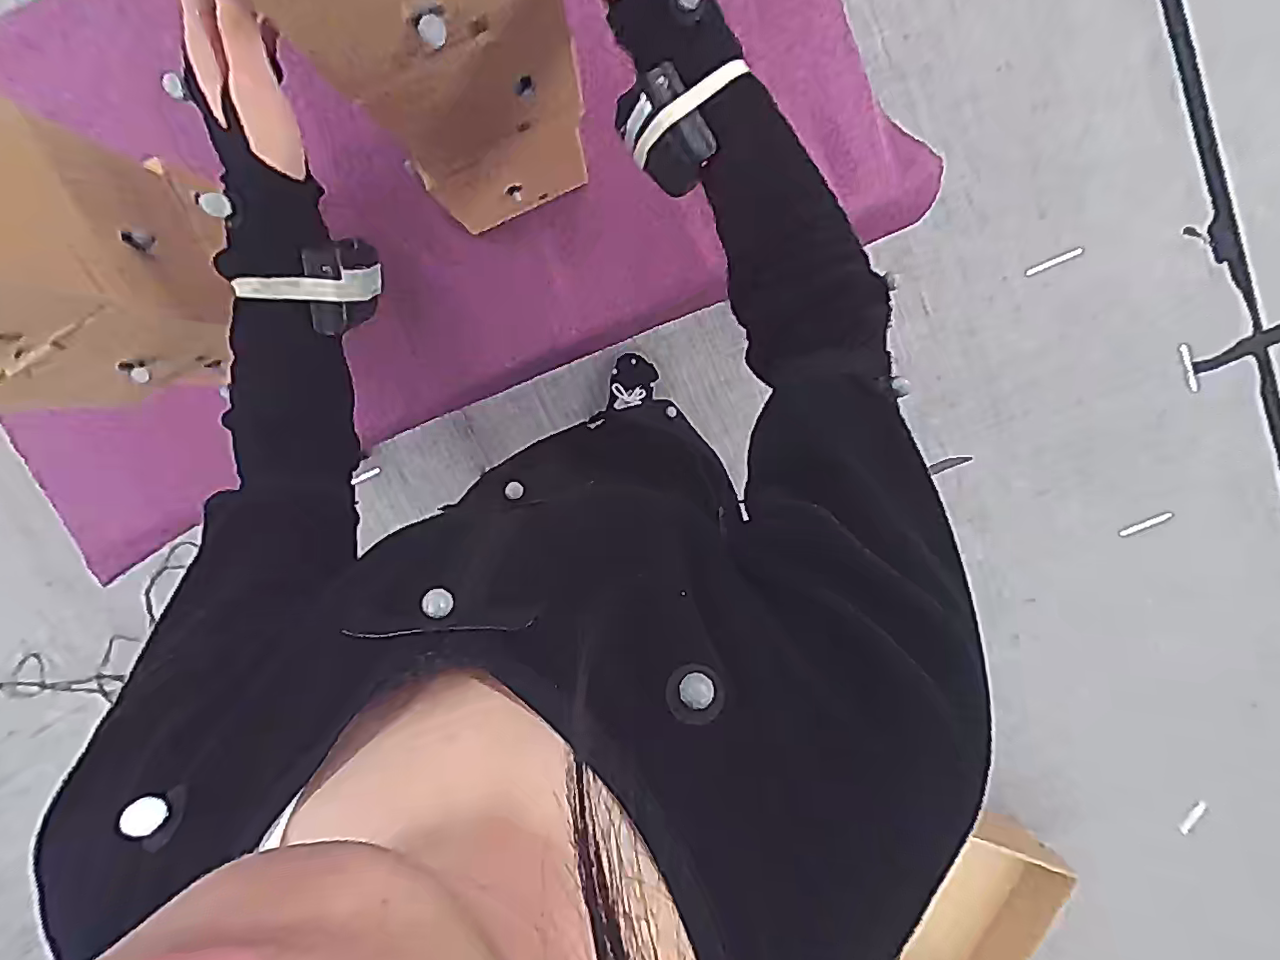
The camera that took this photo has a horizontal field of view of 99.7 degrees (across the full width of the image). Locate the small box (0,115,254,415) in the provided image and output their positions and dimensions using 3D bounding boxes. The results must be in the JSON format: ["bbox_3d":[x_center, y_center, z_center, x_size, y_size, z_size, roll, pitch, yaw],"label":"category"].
[{"bbox_3d":[-0.501,-0.175,0.476,0.168,0.176,0.179,-29,99,3],"label":"small box"}]

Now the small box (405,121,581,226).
[{"bbox_3d":[-0.176,-0.410,0.607,0.168,0.176,0.179,-23,99,2],"label":"small box"}]

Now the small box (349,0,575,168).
[{"bbox_3d":[-0.163,-0.391,0.446,0.168,0.176,0.179,-22,99,2],"label":"small box"}]

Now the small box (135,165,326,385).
[{"bbox_3d":[-0.517,-0.220,0.634,0.168,0.176,0.179,-24,99,3],"label":"small box"}]

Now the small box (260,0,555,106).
[{"bbox_3d":[-0.158,-0.353,0.286,0.168,0.176,0.179,-23,101,2],"label":"small box"}]
